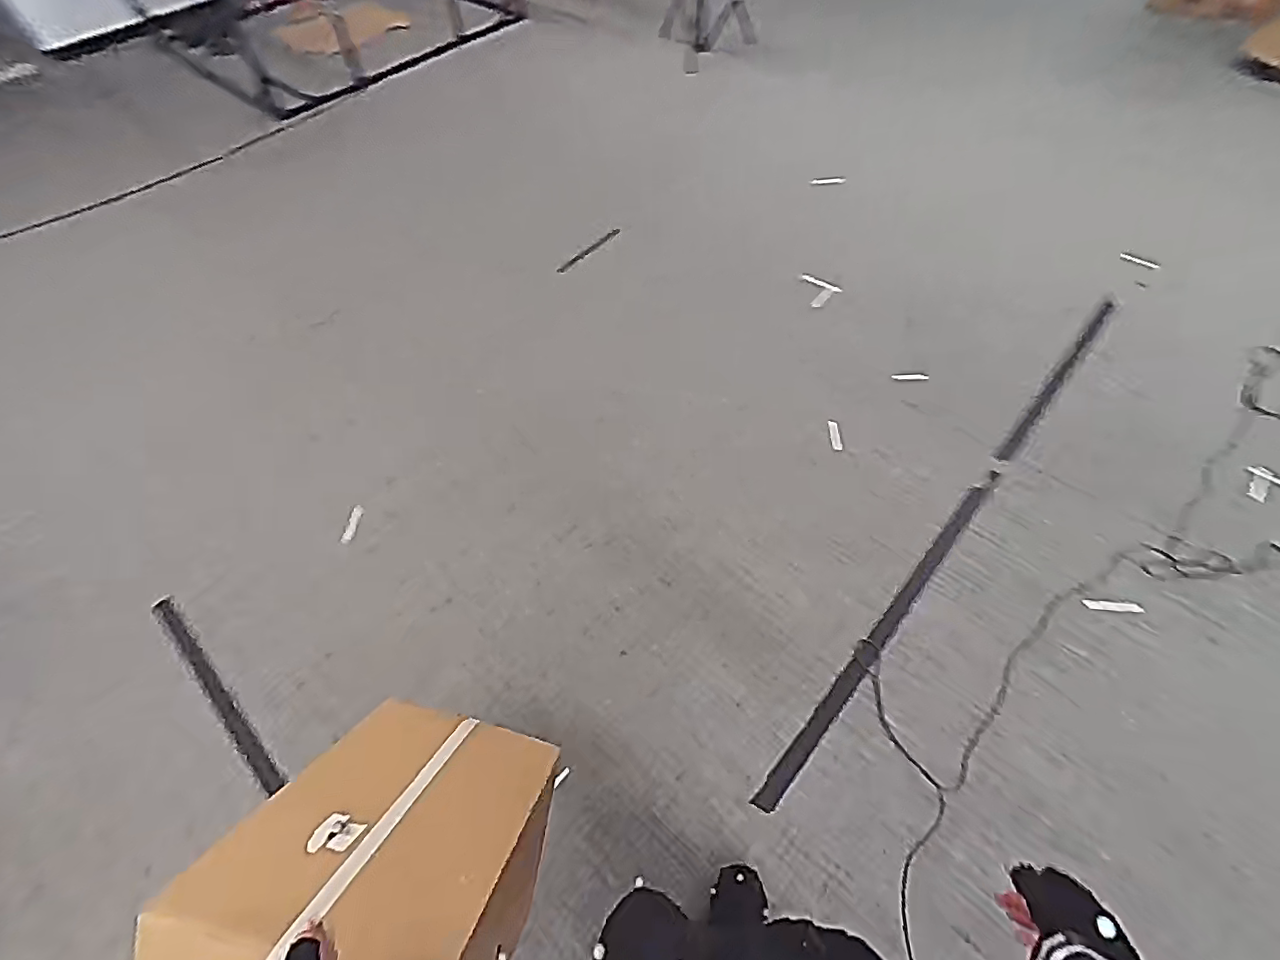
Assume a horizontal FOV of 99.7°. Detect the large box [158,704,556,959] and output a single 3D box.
[{"bbox_3d":[-0.343,0.591,0.745,0.320,0.408,0.320,12,100,8],"label":"large box"}]
